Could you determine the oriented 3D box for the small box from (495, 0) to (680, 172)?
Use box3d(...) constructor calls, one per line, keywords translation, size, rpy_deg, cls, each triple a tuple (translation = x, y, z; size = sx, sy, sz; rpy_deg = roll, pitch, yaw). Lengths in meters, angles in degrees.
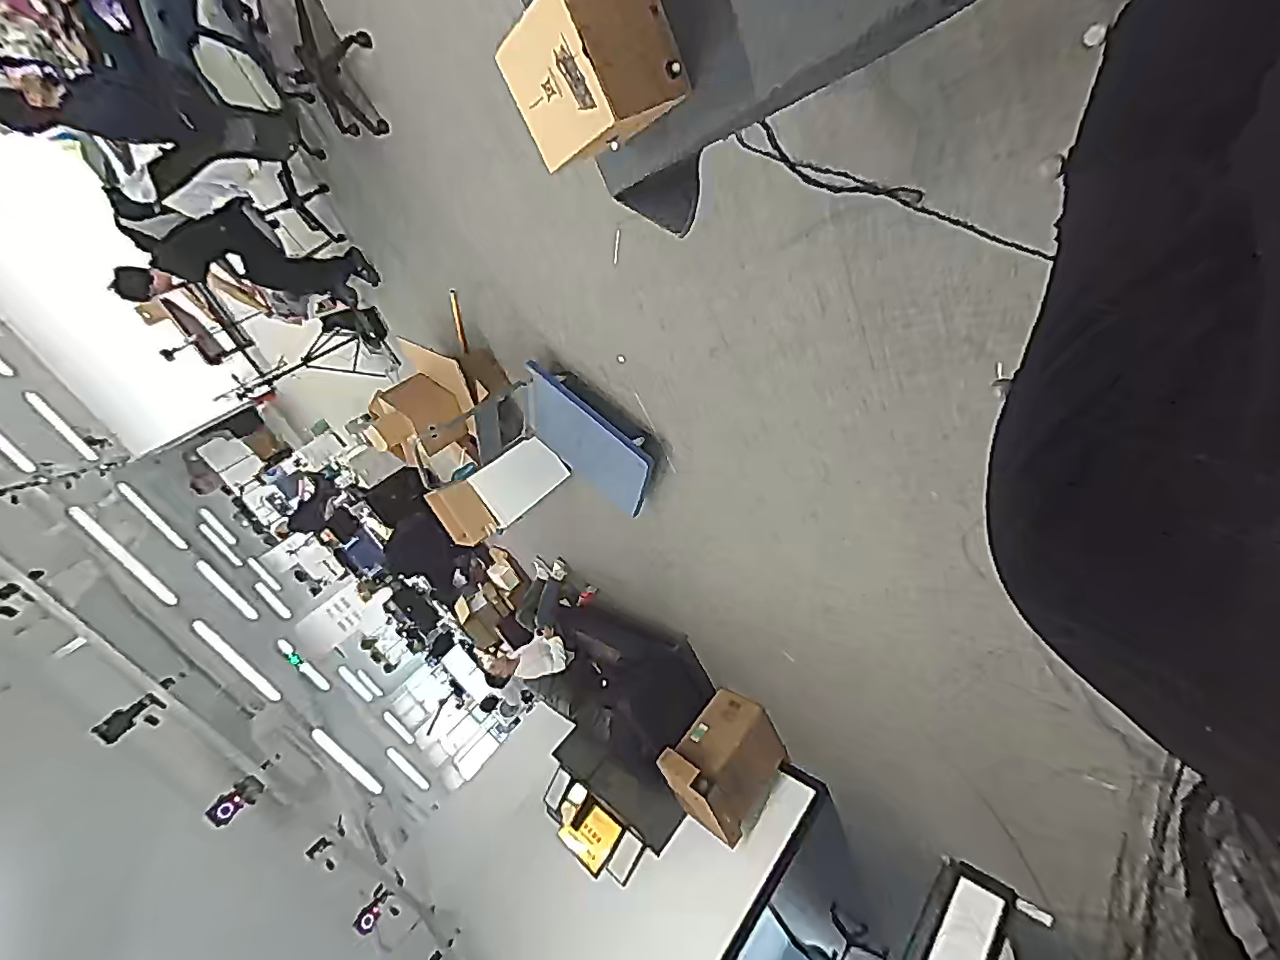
box3d(translation=(-0.065, -0.582, 0.771), size=(0.179, 0.176, 0.168), rpy_deg=(4, 129, 51), cls="small box")
